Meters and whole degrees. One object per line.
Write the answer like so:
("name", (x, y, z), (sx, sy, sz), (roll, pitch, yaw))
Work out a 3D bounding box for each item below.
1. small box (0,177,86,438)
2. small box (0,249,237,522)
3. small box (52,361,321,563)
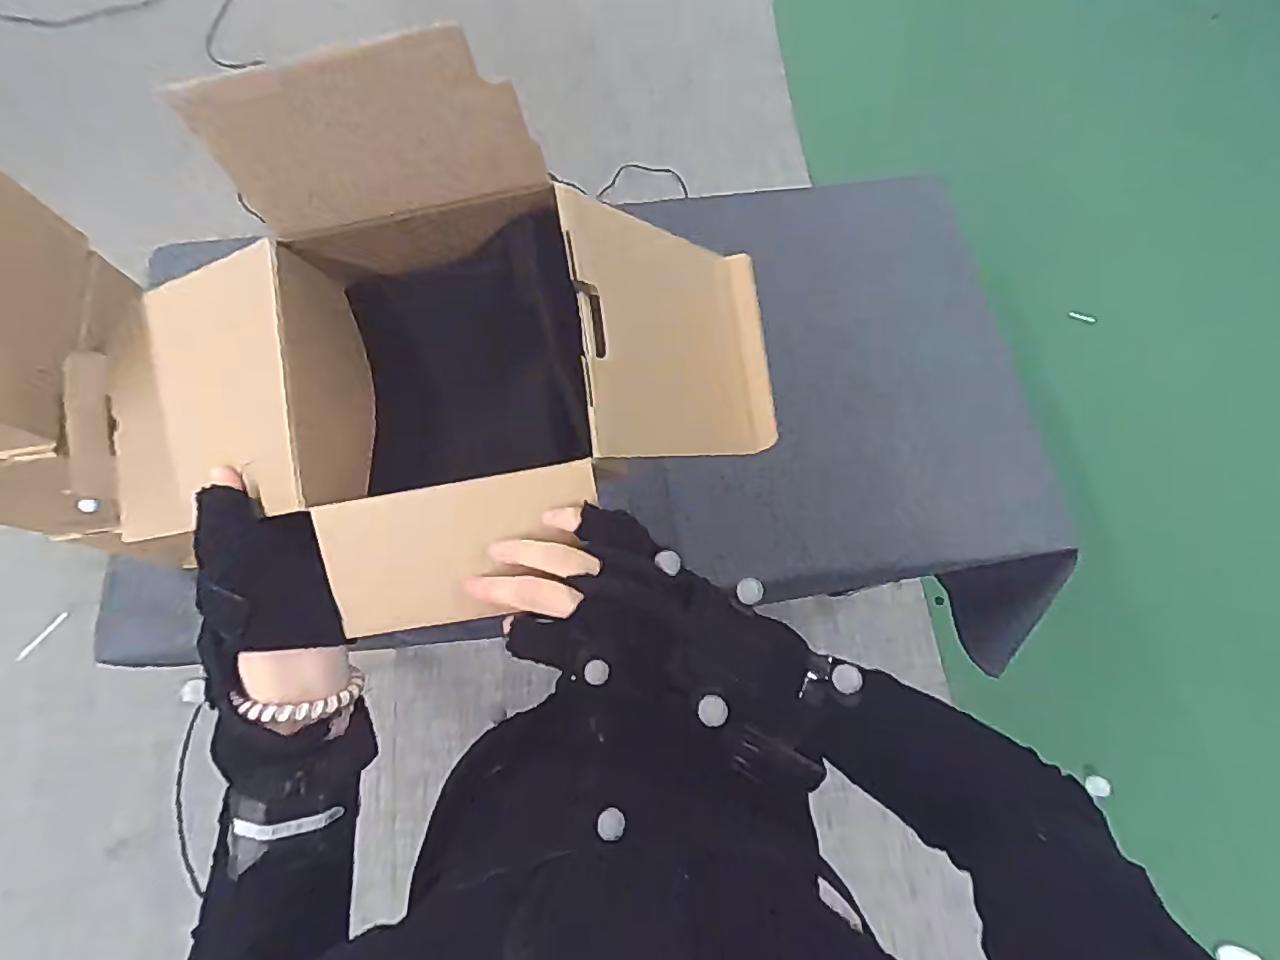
("small box", (-0.492, -0.123, 0.318), (0.168, 0.176, 0.179), (-8, 72, -5))
("small box", (-0.493, -0.066, 0.471), (0.168, 0.176, 0.179), (-7, 72, -4))
("small box", (-0.496, -0.013, 0.625), (0.168, 0.176, 0.179), (-8, 73, -3))
